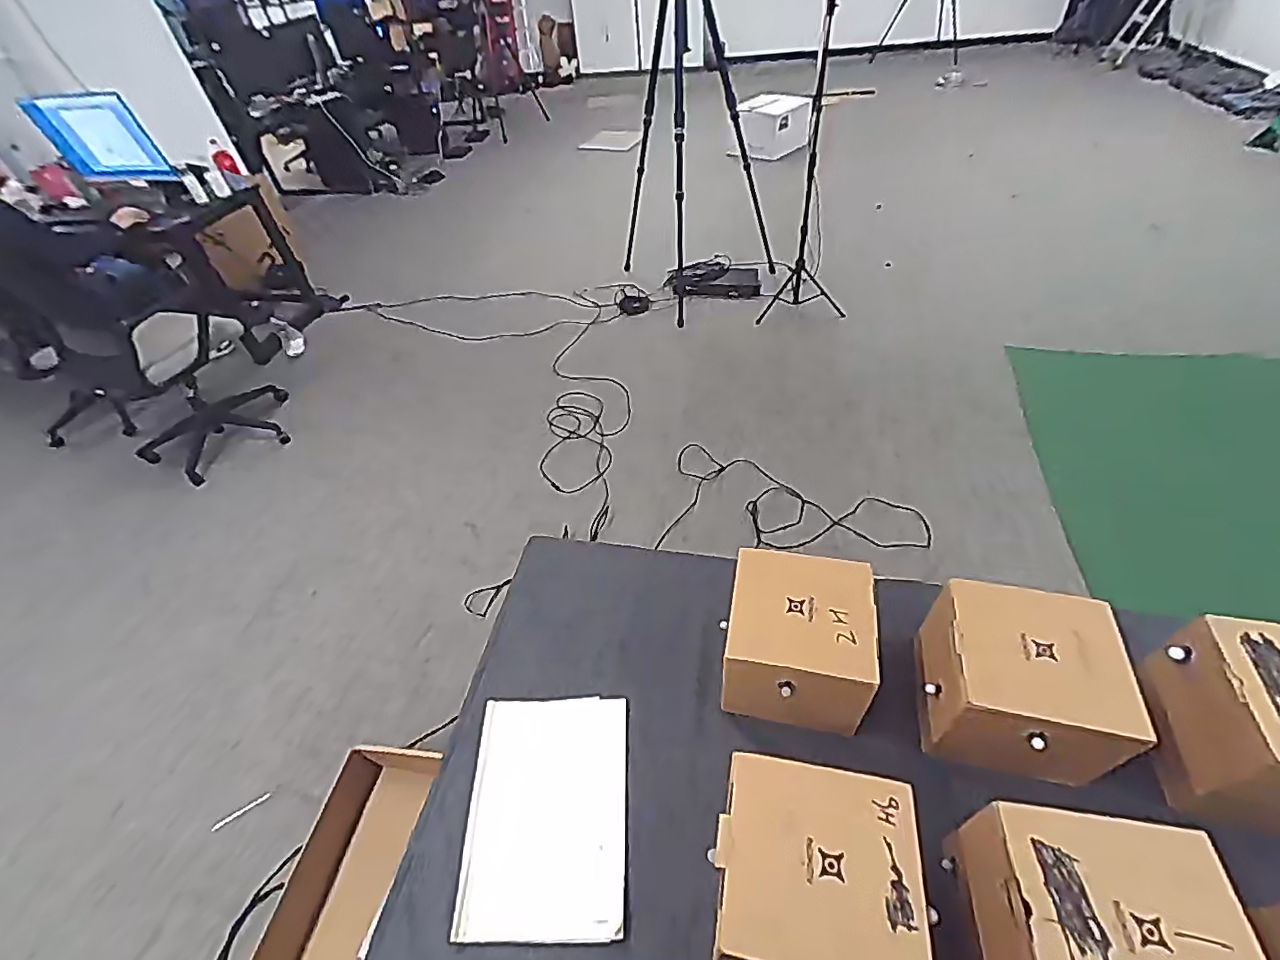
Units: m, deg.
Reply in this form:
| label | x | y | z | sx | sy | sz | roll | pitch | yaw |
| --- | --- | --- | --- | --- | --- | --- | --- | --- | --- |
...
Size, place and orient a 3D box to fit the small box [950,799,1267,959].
| label | x | y | z | sx | sy | sz | roll | pitch | yaw |
| --- | --- | --- | --- | --- | --- | --- | --- | --- | --- |
| small box | 0.410 | 0.420 | 0.497 | 0.179 | 0.176 | 0.168 | 4 | 46 | 9 |
